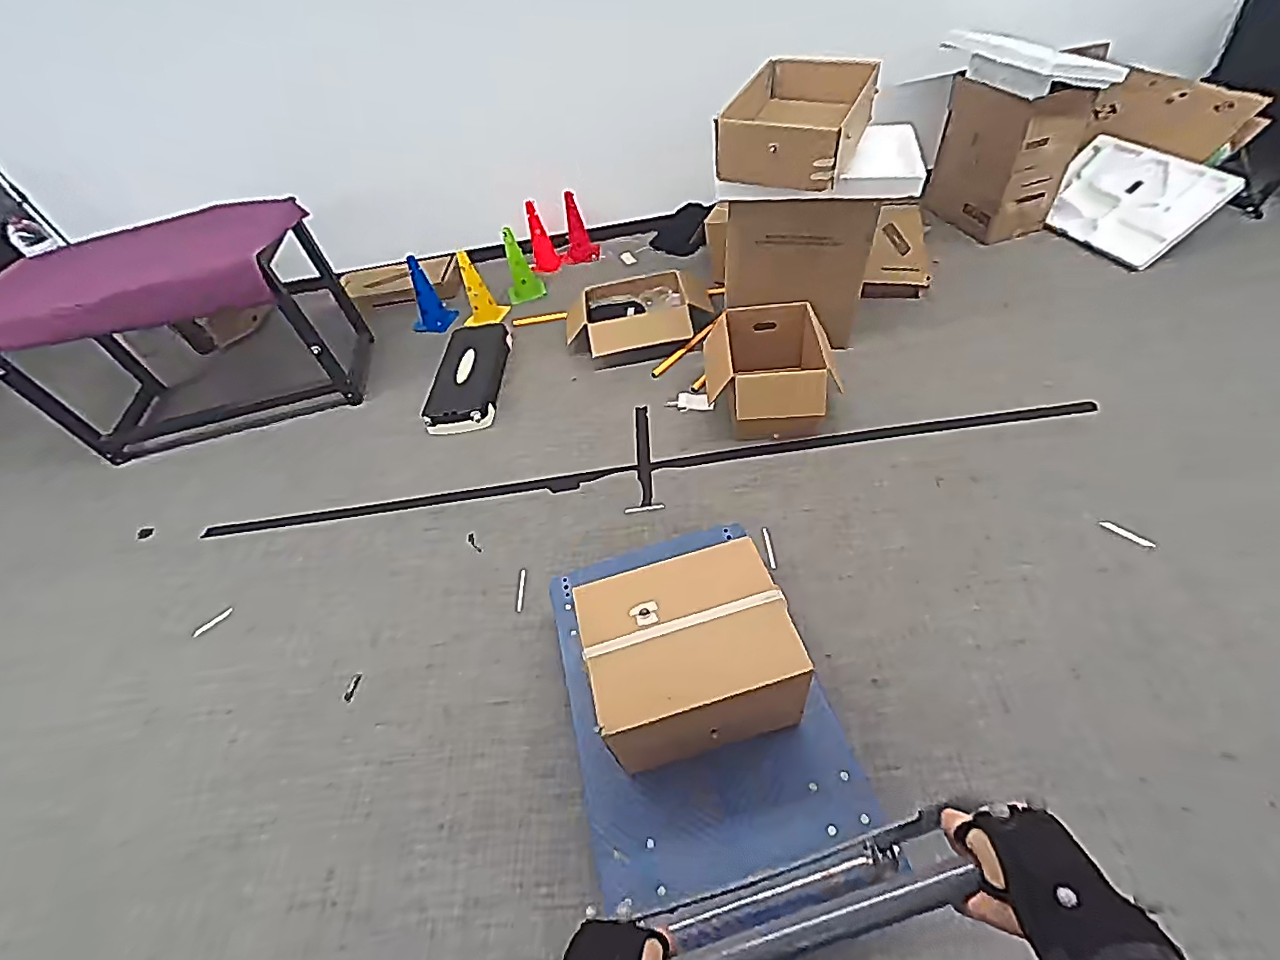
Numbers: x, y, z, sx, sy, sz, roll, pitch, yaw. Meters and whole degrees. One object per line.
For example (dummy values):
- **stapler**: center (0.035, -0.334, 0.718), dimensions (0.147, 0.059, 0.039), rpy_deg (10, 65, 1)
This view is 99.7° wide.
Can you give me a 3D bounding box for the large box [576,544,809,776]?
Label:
- **large box**: center (0.111, 0.400, 1.195), dimensions (0.408, 0.320, 0.320), rpy_deg (-17, 48, -3)
